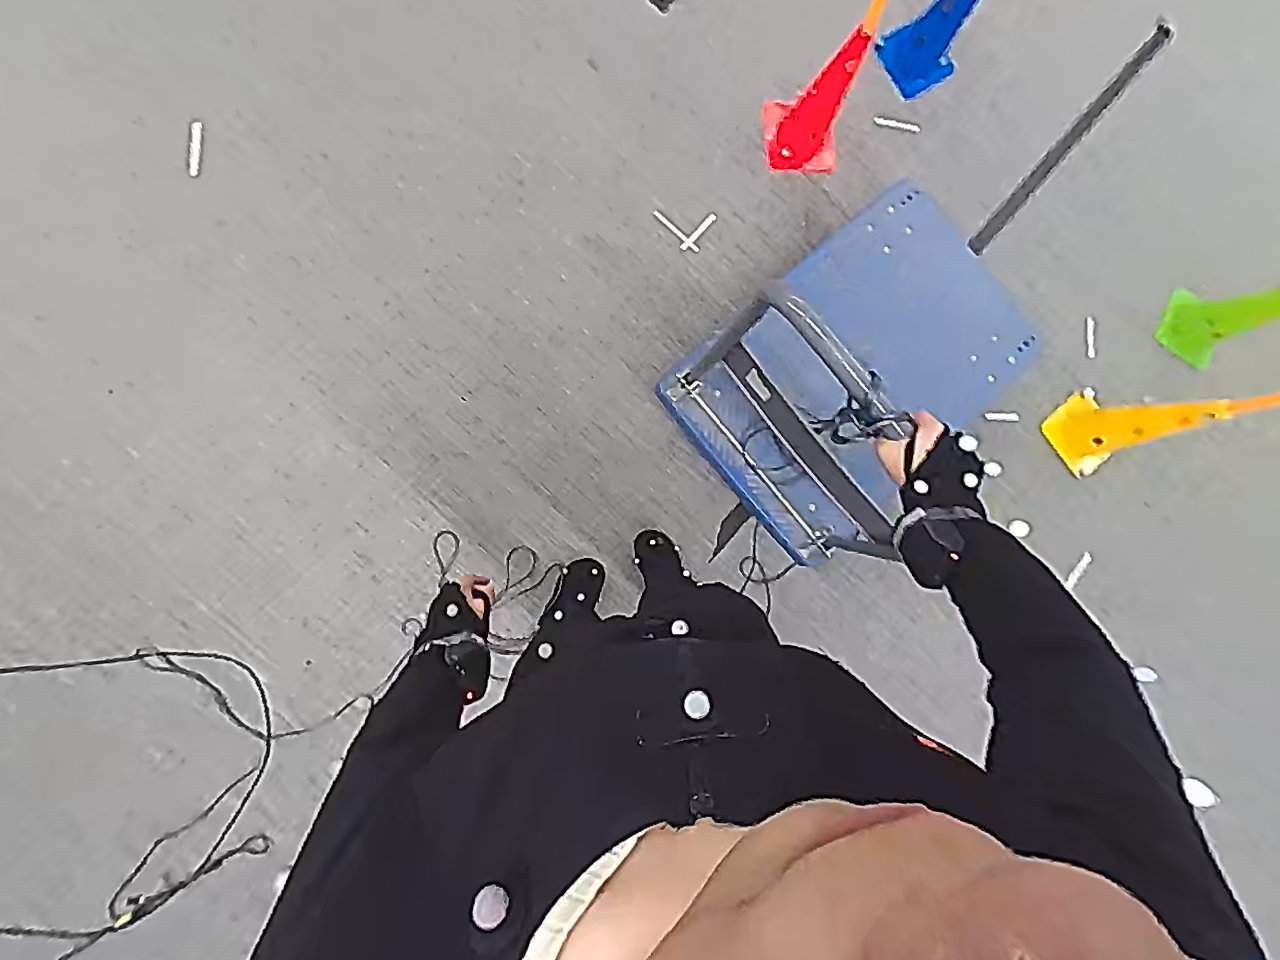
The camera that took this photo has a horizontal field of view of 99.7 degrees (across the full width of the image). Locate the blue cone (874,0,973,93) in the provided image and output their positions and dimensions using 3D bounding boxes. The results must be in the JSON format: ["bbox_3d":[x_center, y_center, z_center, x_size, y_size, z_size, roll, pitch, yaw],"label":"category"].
[{"bbox_3d":[0.818,-1.250,1.414,0.192,0.380,0.193,-33,91,-8],"label":"blue cone"}]

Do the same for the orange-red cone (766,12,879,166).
[{"bbox_3d":[0.473,-0.982,1.335,0.199,0.360,0.198,-2,88,-9],"label":"orange-red cone"}]

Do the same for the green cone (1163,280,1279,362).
[{"bbox_3d":[1.720,-0.490,1.476,0.200,0.368,0.202,29,85,-5],"label":"green cone"}]
